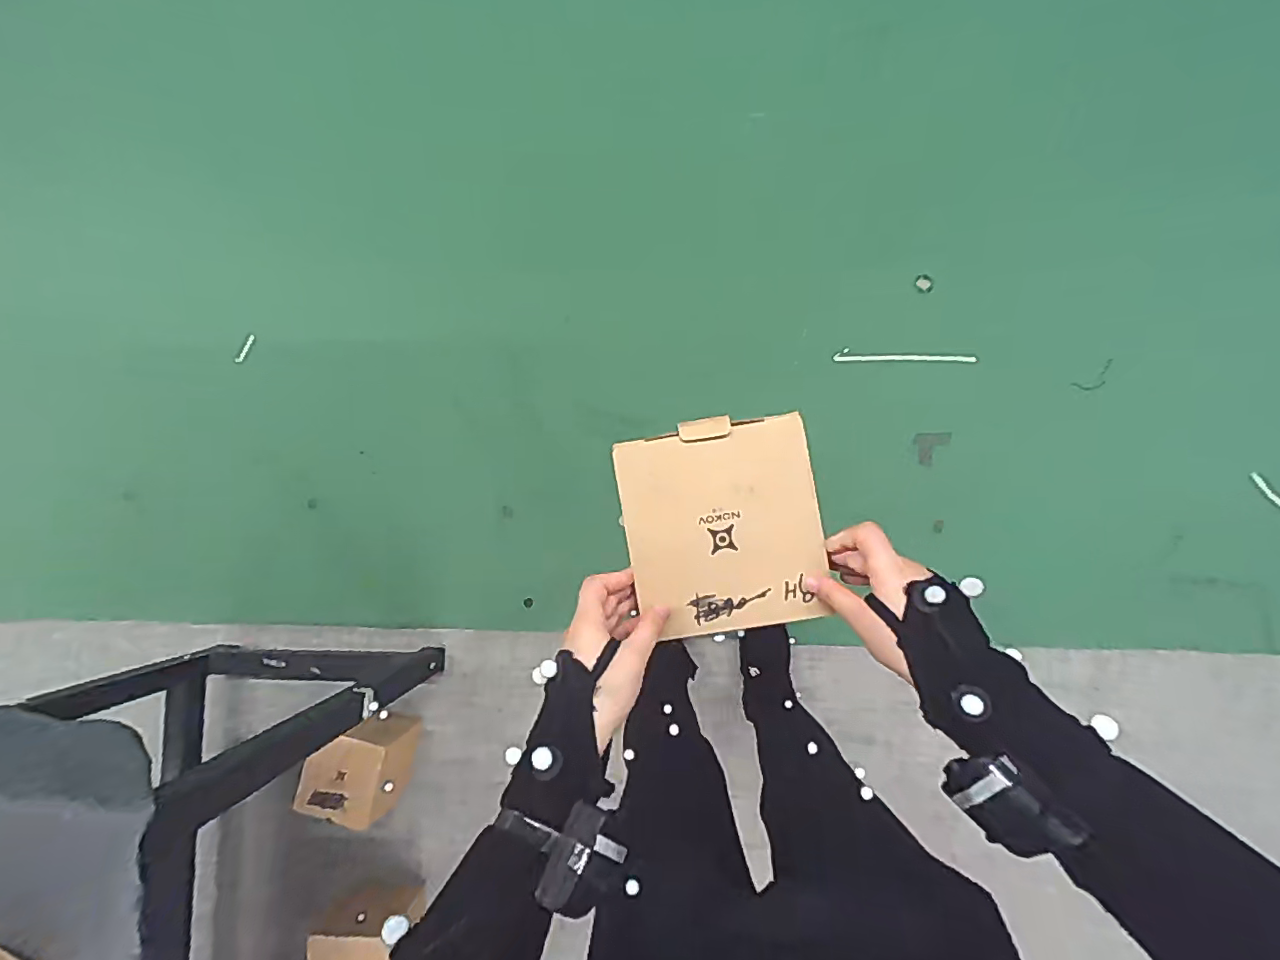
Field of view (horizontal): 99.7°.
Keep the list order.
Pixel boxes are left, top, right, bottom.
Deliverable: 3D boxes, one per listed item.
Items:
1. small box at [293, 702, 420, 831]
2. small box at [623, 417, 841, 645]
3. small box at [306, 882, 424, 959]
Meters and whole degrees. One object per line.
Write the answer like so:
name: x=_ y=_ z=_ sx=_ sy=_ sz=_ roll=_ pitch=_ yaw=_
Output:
small box: x=-0.613 y=0.621 z=1.191 sx=0.168 sy=0.176 sz=0.179 roll=13 pitch=86 yaw=5
small box: x=0.081 y=0.044 z=0.535 sx=0.168 sy=0.176 sz=0.179 roll=-9 pitch=90 yaw=4
small box: x=-0.584 y=1.007 z=1.166 sx=0.179 sy=0.176 sz=0.168 roll=-2 pitch=86 yaw=5
